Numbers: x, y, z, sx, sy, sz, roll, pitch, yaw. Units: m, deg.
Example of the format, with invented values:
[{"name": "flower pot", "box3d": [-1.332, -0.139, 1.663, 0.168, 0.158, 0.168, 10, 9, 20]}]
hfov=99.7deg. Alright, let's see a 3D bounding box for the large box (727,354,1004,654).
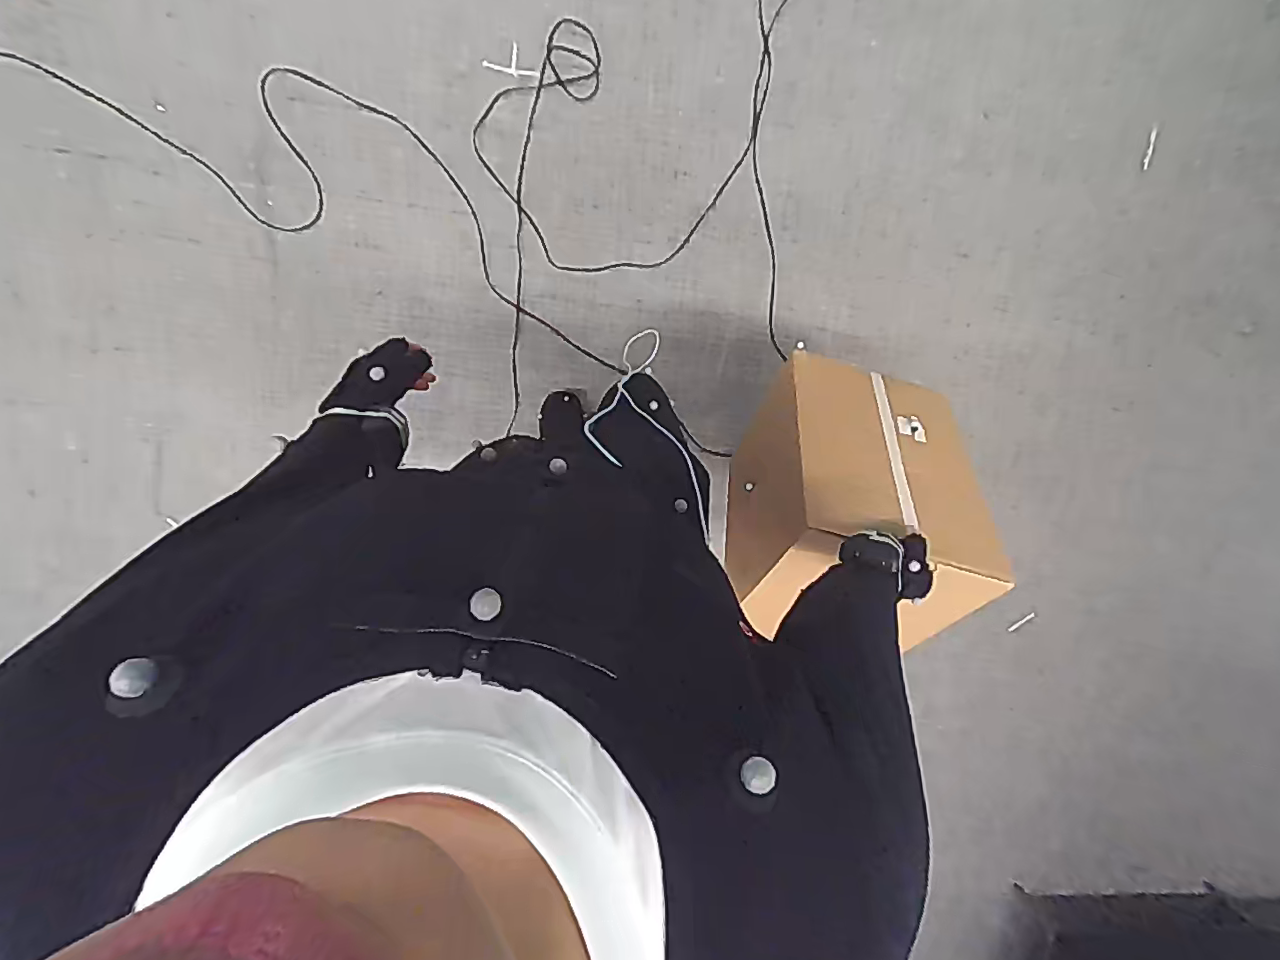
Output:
[{"name": "large box", "box3d": [0.357, 0.047, 0.983, 0.320, 0.408, 0.320, 16, 139, -6]}]
